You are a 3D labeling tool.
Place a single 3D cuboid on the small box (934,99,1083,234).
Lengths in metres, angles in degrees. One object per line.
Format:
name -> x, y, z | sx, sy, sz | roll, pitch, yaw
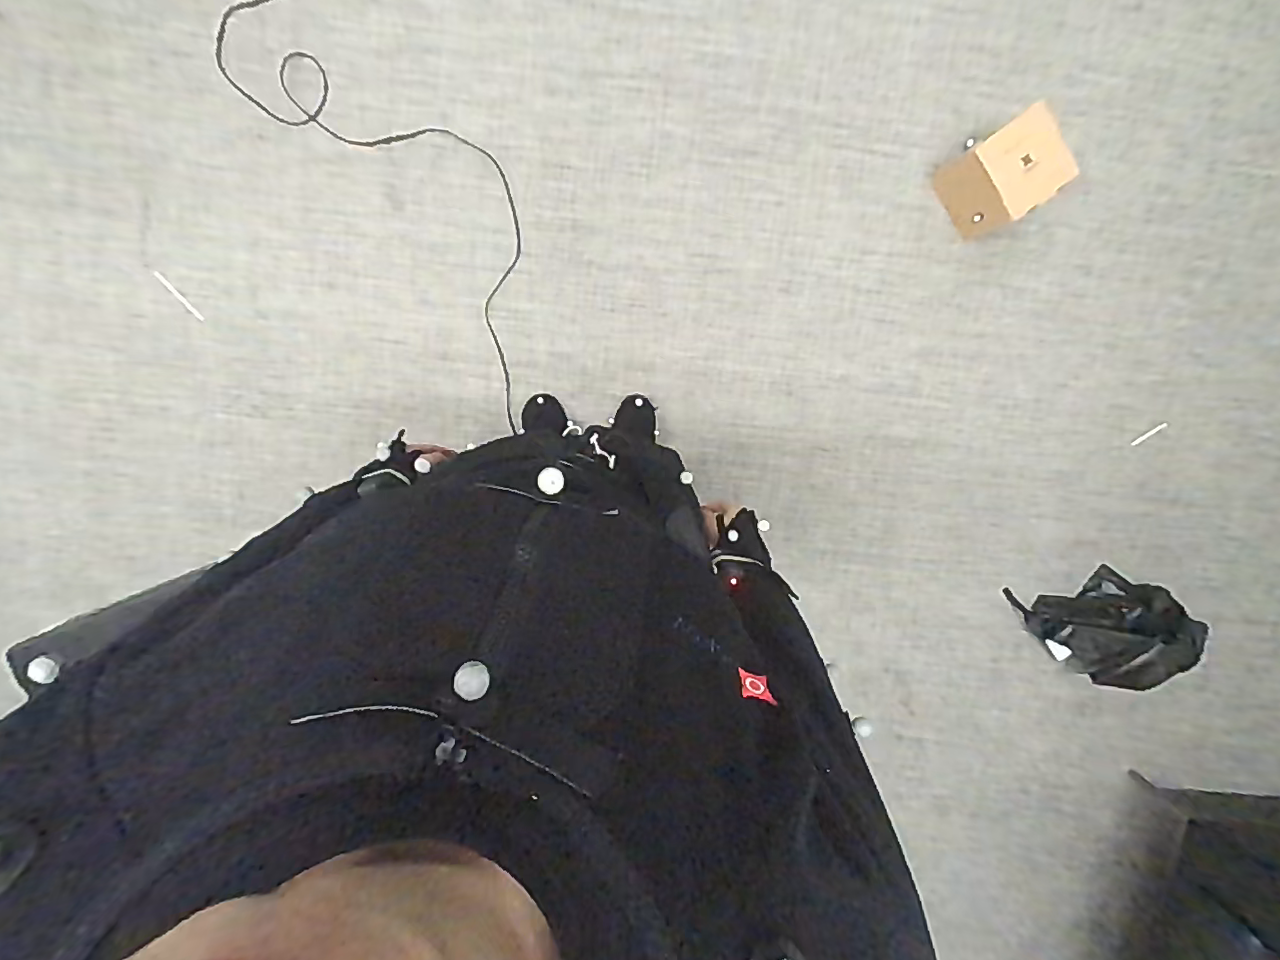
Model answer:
small box -> 0.792, -0.666, 1.180 | 0.168, 0.176, 0.179 | -37, 99, 4
